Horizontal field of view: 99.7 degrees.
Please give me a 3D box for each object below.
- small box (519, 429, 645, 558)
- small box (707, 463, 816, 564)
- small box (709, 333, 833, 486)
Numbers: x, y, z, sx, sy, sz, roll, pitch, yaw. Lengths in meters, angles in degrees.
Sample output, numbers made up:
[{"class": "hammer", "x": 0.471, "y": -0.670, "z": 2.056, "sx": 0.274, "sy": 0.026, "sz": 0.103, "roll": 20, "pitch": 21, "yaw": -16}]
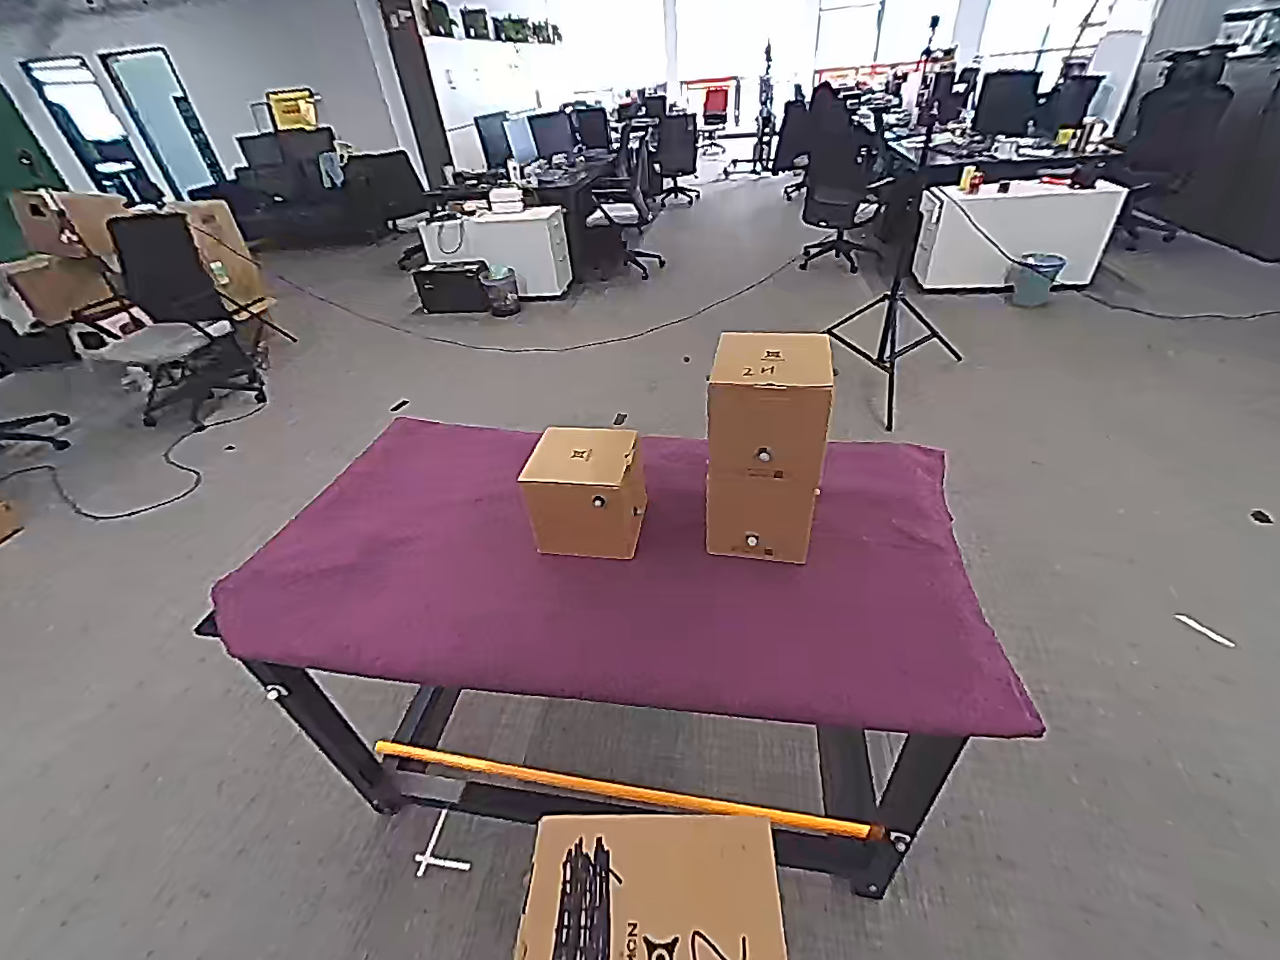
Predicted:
[{"class": "small box", "x": -0.093, "y": 0.023, "z": 0.968, "sx": 0.179, "sy": 0.176, "sz": 0.168, "roll": 3, "pitch": 38, "yaw": 10}, {"class": "small box", "x": 0.208, "y": 0.018, "z": 0.932, "sx": 0.168, "sy": 0.176, "sz": 0.179, "roll": 5, "pitch": 39, "yaw": 14}, {"class": "small box", "x": 0.197, "y": -0.113, "z": 0.831, "sx": 0.168, "sy": 0.176, "sz": 0.179, "roll": 4, "pitch": 38, "yaw": 14}]
